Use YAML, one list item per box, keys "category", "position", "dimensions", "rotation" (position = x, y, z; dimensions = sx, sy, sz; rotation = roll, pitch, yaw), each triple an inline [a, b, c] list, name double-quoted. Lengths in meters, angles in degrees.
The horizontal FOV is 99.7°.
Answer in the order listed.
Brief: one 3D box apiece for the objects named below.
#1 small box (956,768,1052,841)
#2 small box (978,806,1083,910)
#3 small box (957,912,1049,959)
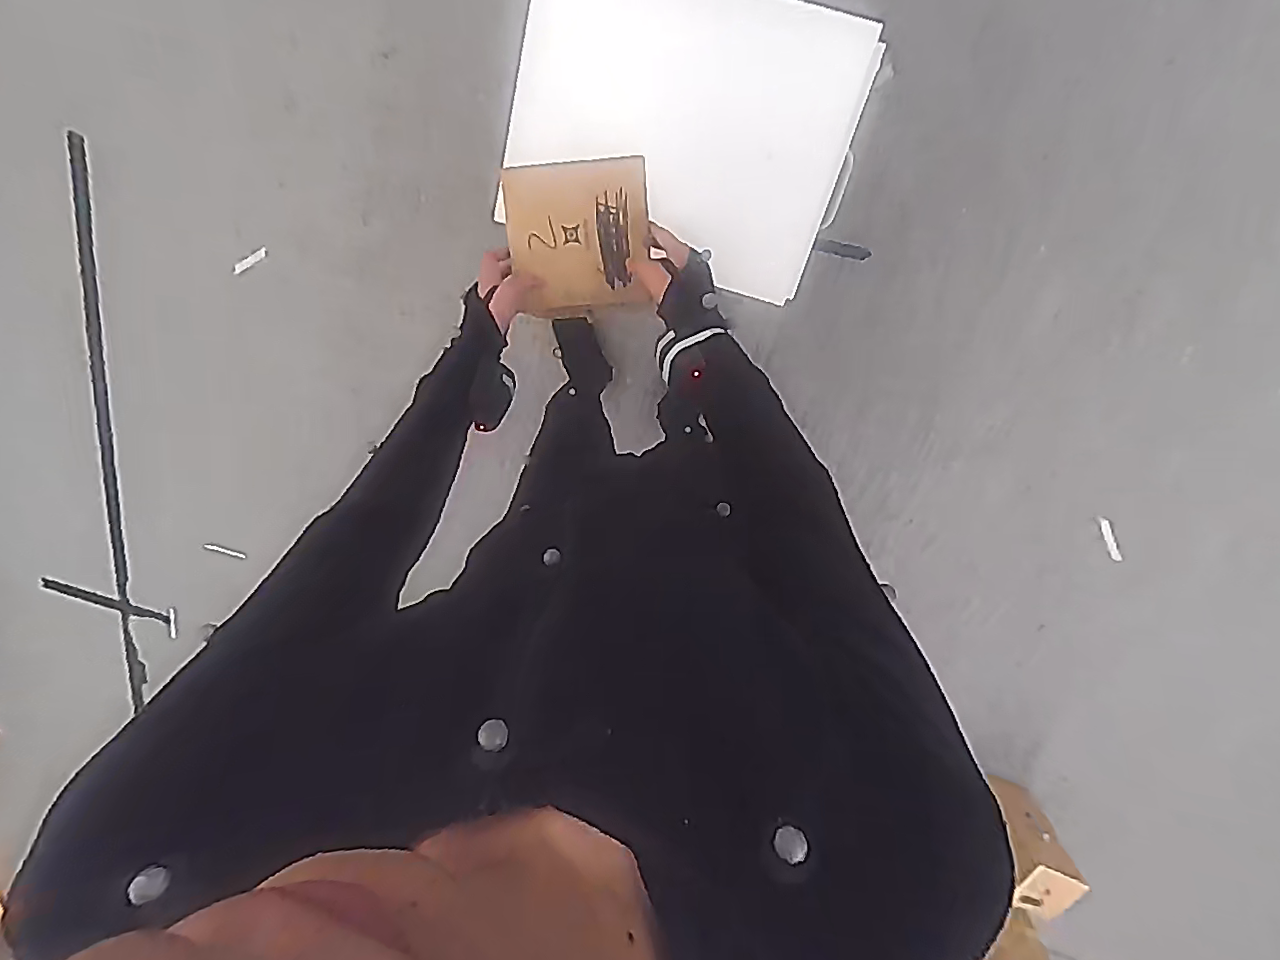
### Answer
- category: "small box"
  position: [1.212, 1.111, 1.815]
  dimensions: [0.179, 0.176, 0.168]
  rotation: [21, 110, 0]
- category: "small box"
  position: [1.181, 1.155, 1.659]
  dimensions: [0.168, 0.176, 0.179]
  rotation: [24, 110, -2]
- category: "small box"
  position: [1.090, 1.431, 1.597]
  dimensions: [0.179, 0.176, 0.168]
  rotation: [24, 110, -3]
